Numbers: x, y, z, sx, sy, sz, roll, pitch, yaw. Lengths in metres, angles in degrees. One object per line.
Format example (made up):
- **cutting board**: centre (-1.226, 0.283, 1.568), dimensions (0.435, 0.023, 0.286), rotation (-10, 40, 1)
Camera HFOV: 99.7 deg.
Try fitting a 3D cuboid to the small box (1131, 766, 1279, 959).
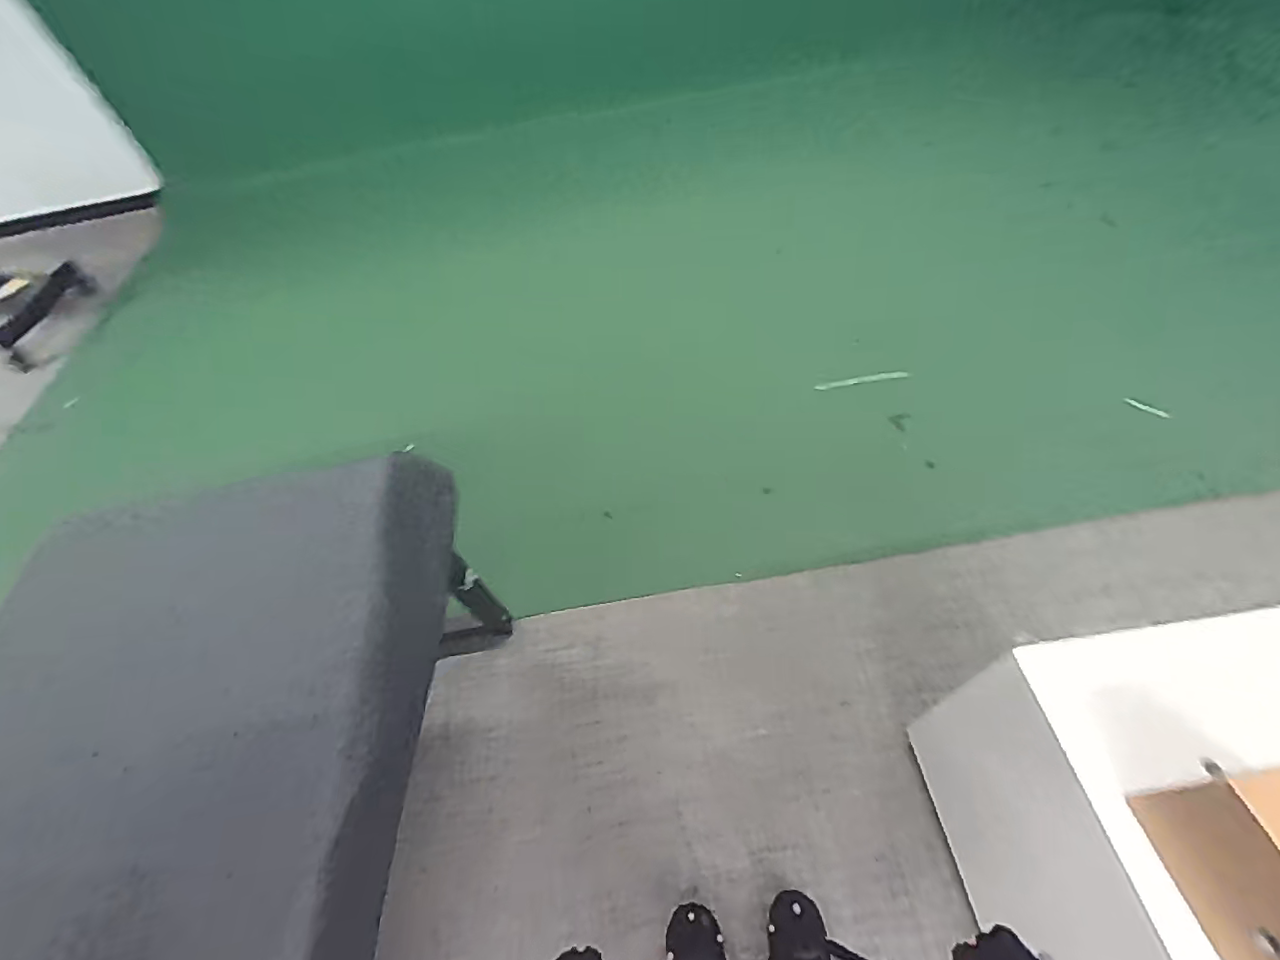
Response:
- **small box**: centre (0.659, 0.385, 0.529), dimensions (0.168, 0.176, 0.179), rotation (-11, 53, 0)
